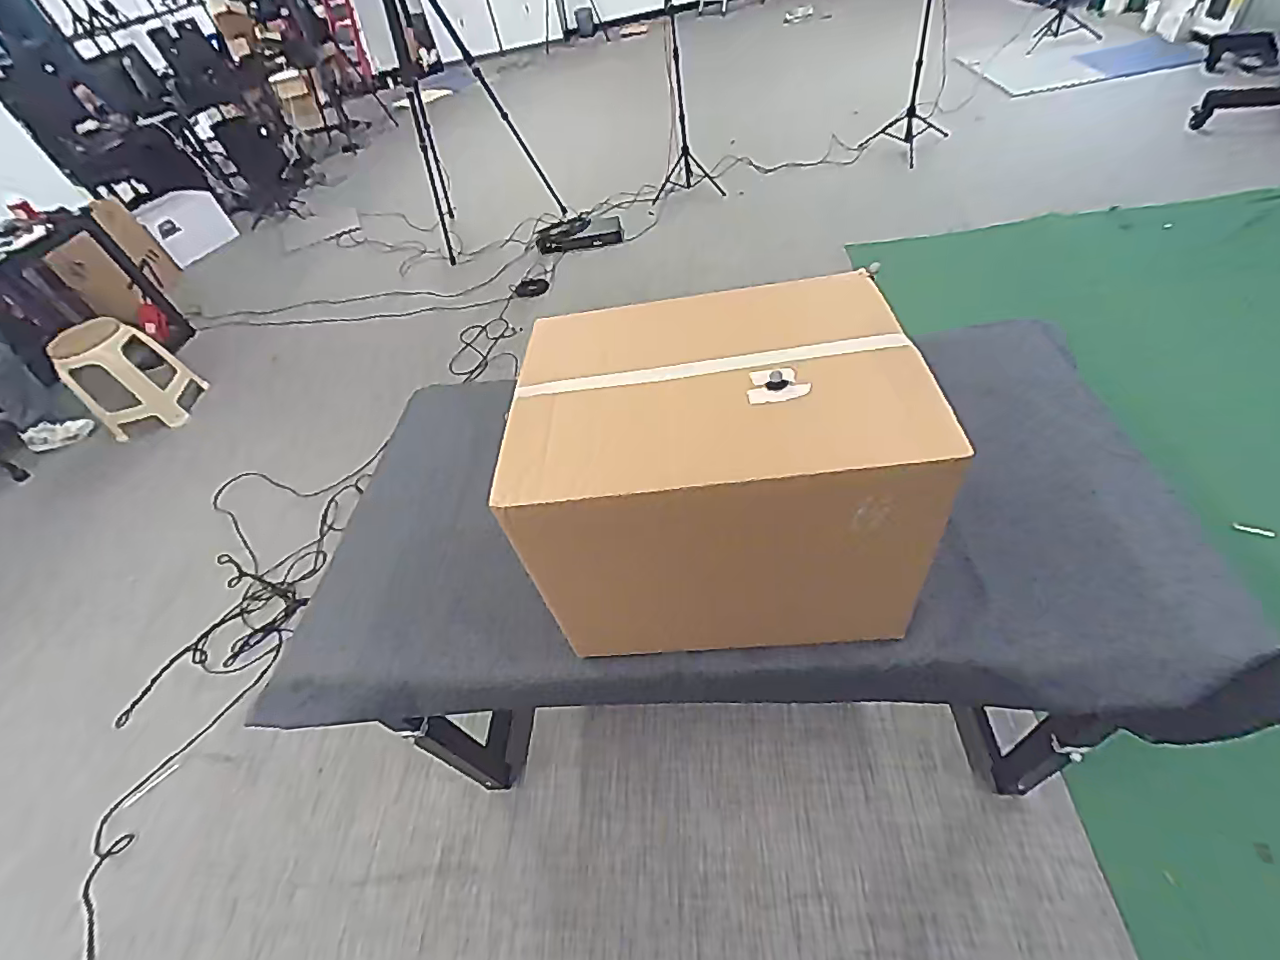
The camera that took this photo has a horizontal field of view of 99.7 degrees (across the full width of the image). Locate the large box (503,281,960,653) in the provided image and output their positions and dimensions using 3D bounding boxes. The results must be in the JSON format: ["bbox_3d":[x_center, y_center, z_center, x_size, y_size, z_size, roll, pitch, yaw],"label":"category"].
[{"bbox_3d":[0.092,-0.006,0.672,0.408,0.320,0.320,-6,47,7],"label":"large box"}]
